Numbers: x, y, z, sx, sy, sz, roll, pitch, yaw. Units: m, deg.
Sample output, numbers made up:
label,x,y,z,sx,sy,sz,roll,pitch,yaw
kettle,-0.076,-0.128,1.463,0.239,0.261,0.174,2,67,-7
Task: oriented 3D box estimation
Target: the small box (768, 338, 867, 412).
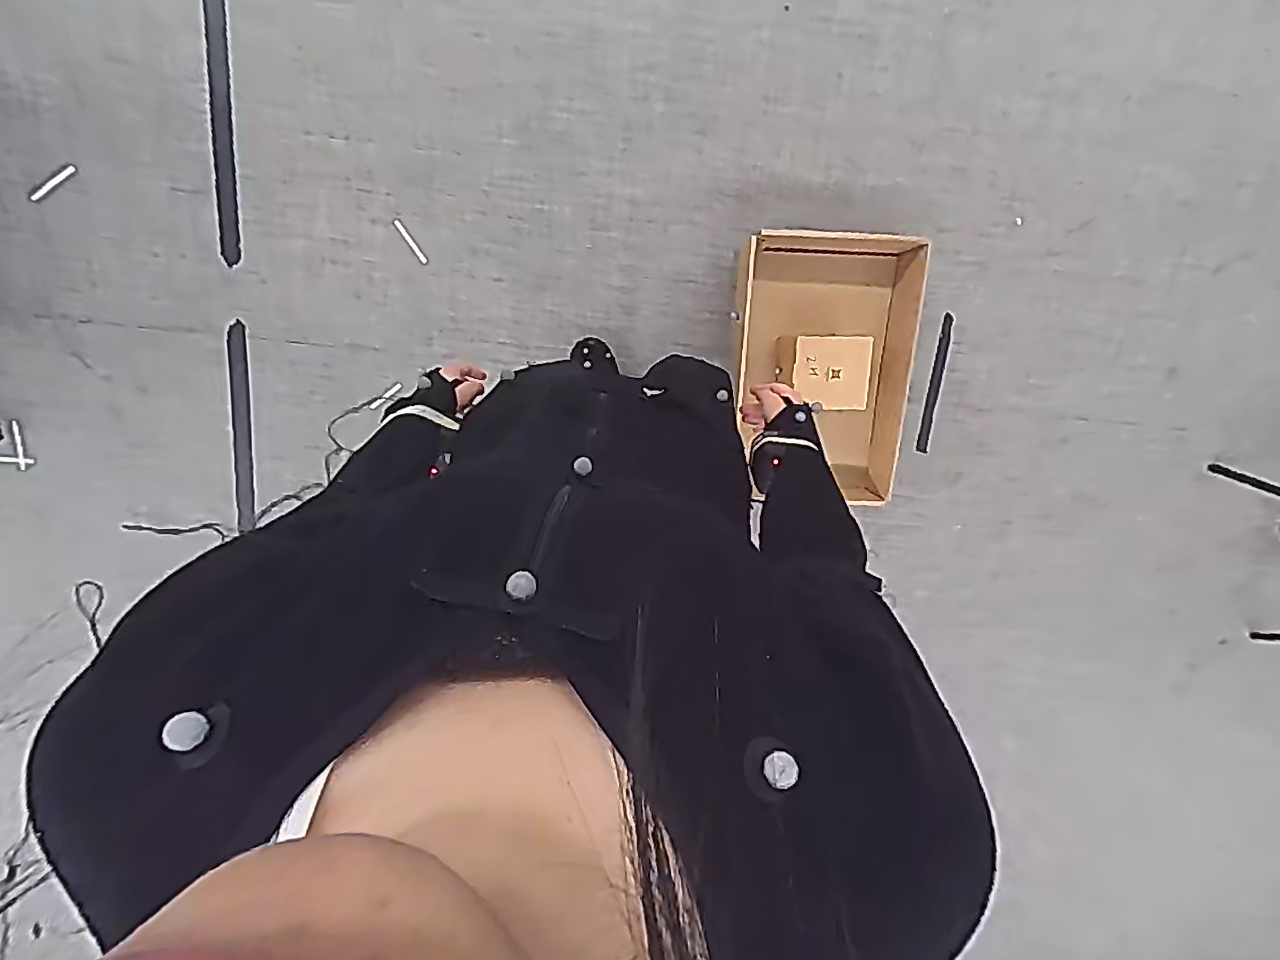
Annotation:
label,x,y,z,sx,sy,sz,roll,pitch,yaw
small box,0.423,-0.258,1.311,0.179,0.176,0.168,0,104,-1
